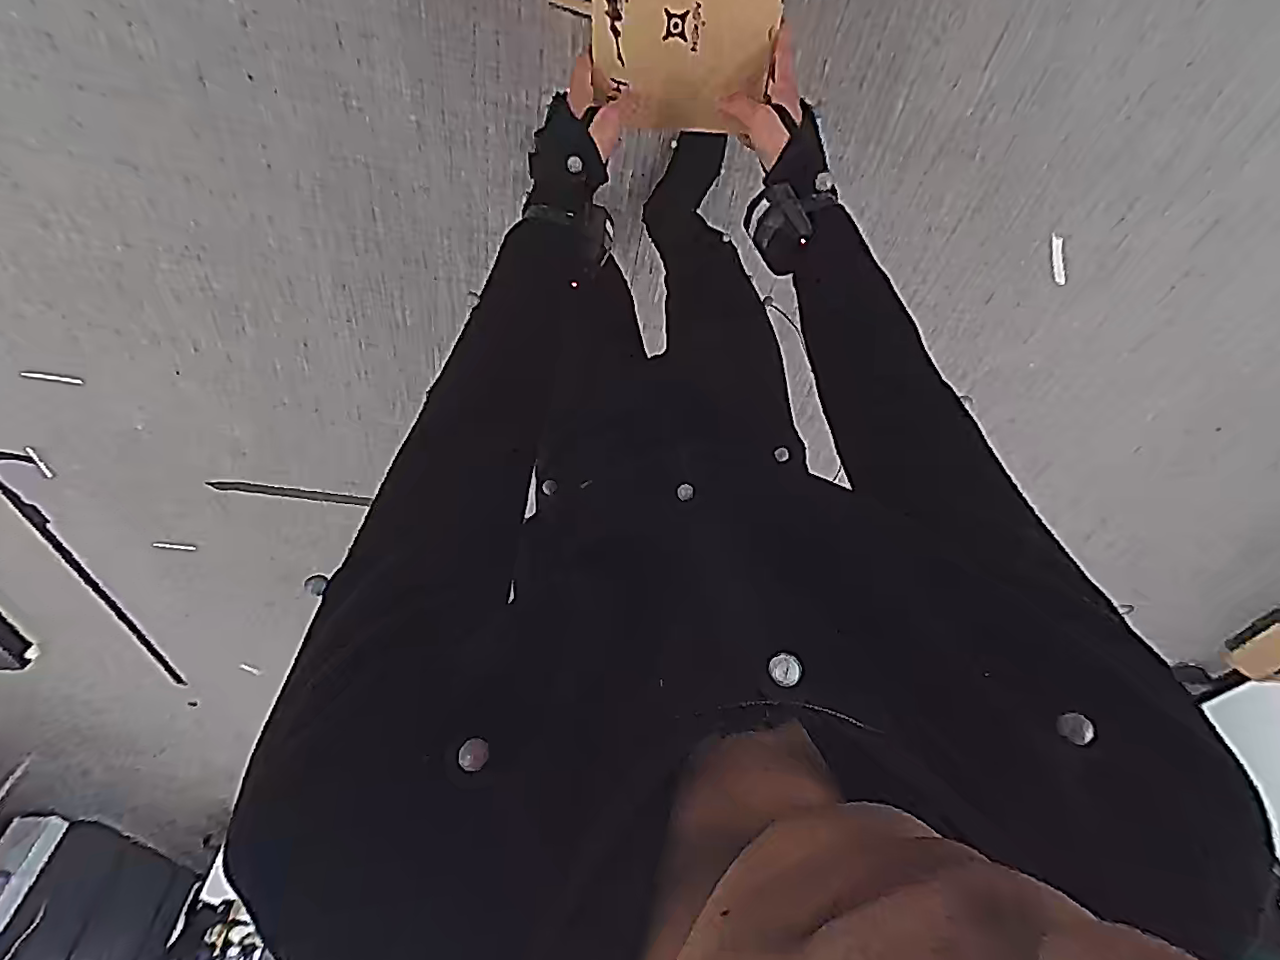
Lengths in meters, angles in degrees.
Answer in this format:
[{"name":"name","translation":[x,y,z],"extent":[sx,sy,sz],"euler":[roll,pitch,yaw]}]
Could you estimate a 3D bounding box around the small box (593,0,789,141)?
[{"name":"small box","translation":[0.044,-0.466,0.553],"extent":[0.179,0.176,0.168],"euler":[2,134,-2]}]
